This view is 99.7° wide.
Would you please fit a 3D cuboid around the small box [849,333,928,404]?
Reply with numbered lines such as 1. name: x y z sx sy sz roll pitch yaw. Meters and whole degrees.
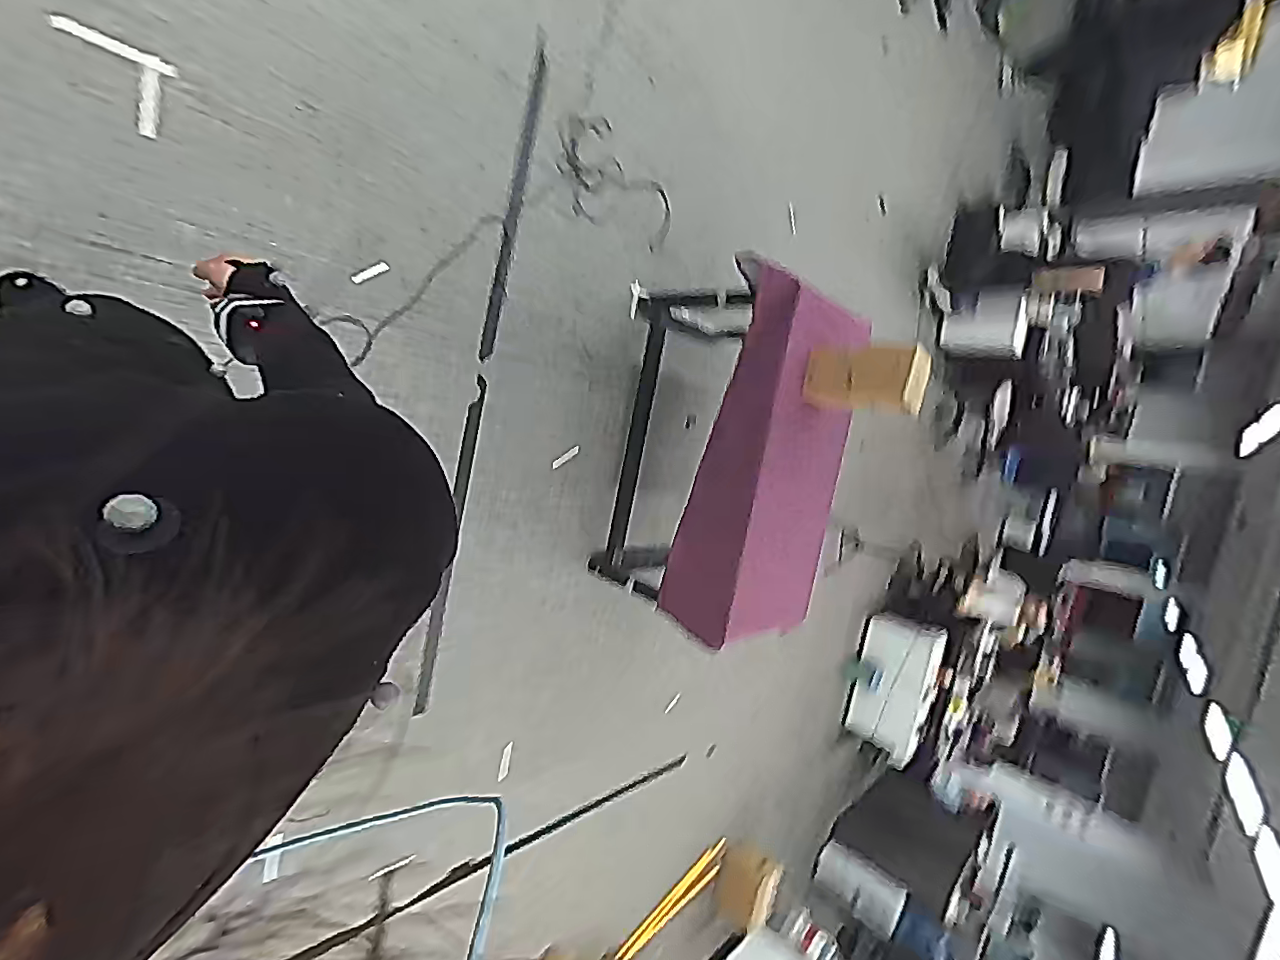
1. small box: 0.786 -0.357 1.719 0.168 0.176 0.179 16 90 -47
